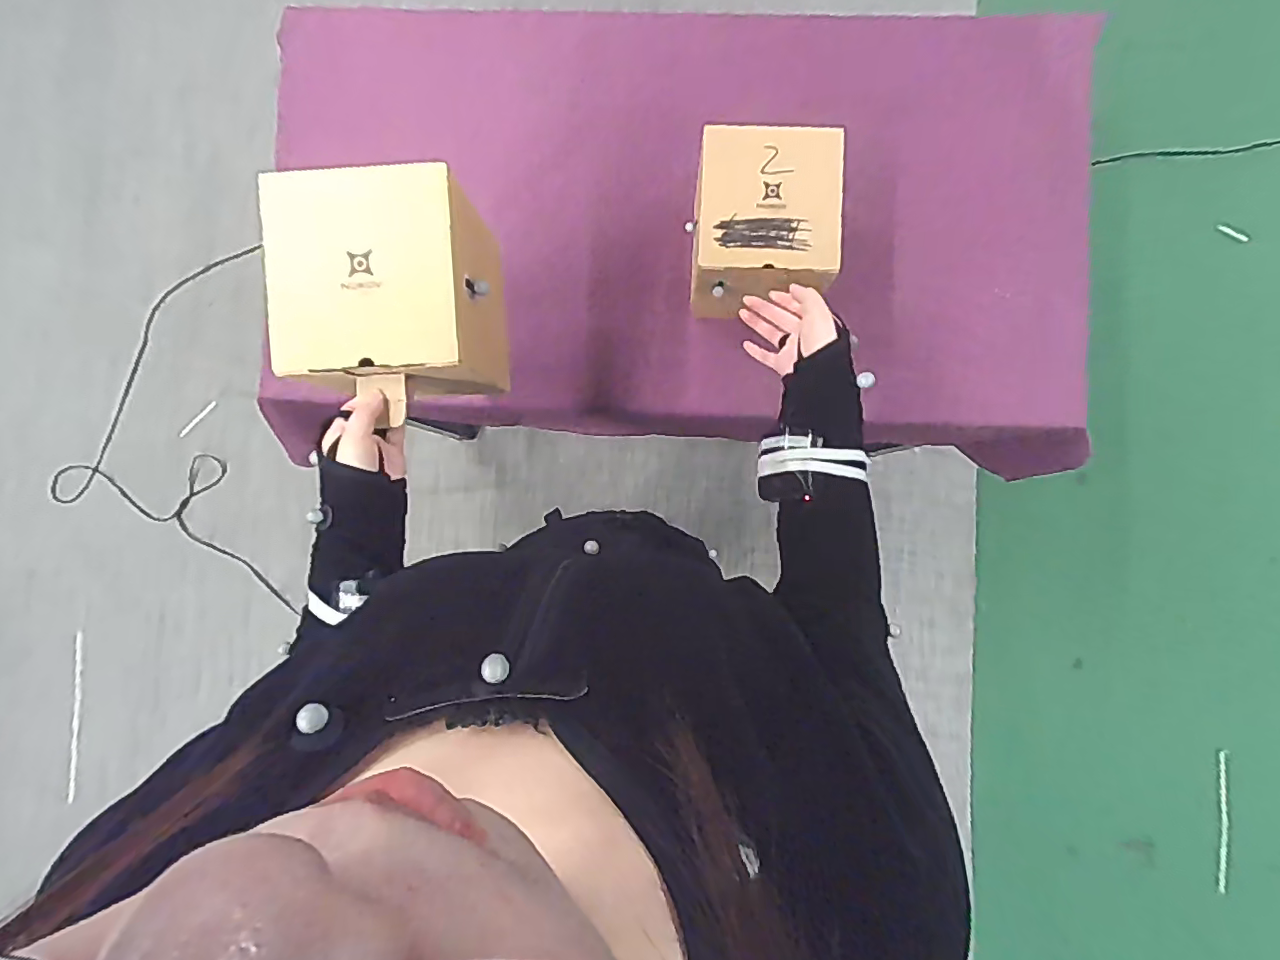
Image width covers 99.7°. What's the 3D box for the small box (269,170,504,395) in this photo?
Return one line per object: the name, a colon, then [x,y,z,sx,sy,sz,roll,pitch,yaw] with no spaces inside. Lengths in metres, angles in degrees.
small box: [-0.245,-0.189,0.562,0.168,0.176,0.179,-3,92,0]
